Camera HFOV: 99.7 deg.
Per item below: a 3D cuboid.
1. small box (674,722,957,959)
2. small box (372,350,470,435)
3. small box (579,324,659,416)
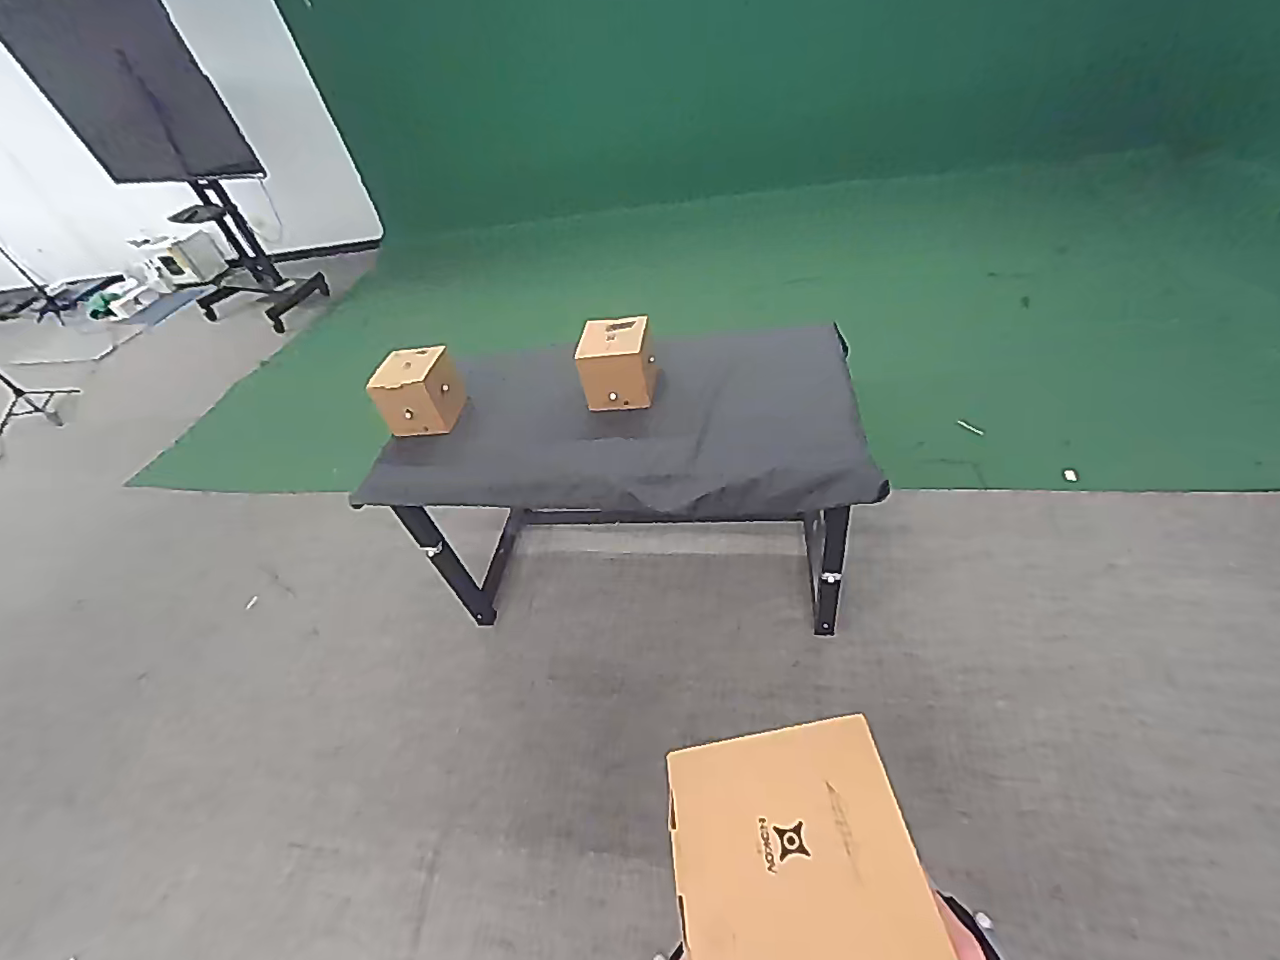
[{"bbox_3d":[0.140,0.340,0.465,0.179,0.176,0.168,-15,40,7],"label":"small box"},{"bbox_3d":[-0.591,-0.234,1.489,0.168,0.176,0.179,-2,45,10],"label":"small box"},{"bbox_3d":[-0.046,-0.287,1.419,0.168,0.176,0.179,-1,46,12],"label":"small box"}]
